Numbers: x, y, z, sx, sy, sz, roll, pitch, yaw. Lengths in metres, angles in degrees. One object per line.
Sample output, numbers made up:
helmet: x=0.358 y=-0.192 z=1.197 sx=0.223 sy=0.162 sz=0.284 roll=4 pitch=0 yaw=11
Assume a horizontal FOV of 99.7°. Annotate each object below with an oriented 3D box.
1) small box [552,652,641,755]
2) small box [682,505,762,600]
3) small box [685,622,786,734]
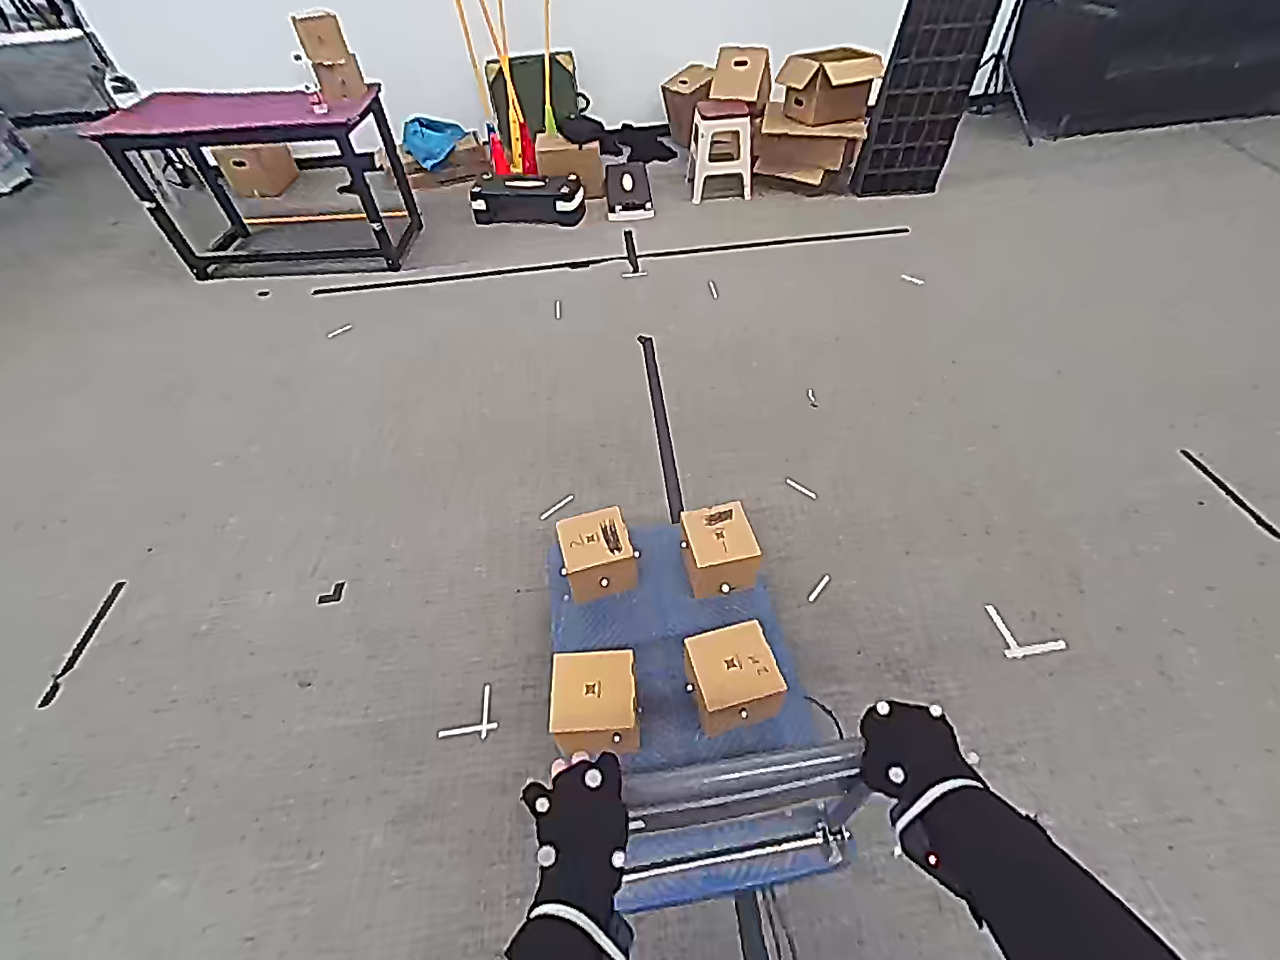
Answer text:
small box: x=-0.091 y=0.499 z=1.202 sx=0.179 sy=0.176 sz=0.168 roll=-3 pitch=48 yaw=-1
small box: x=0.209 y=0.195 z=1.445 sx=0.168 sy=0.176 sz=0.179 roll=-11 pitch=50 yaw=-6
small box: x=0.209 y=0.452 z=1.221 sx=0.179 sy=0.176 sz=0.168 roll=-13 pitch=49 yaw=-7
